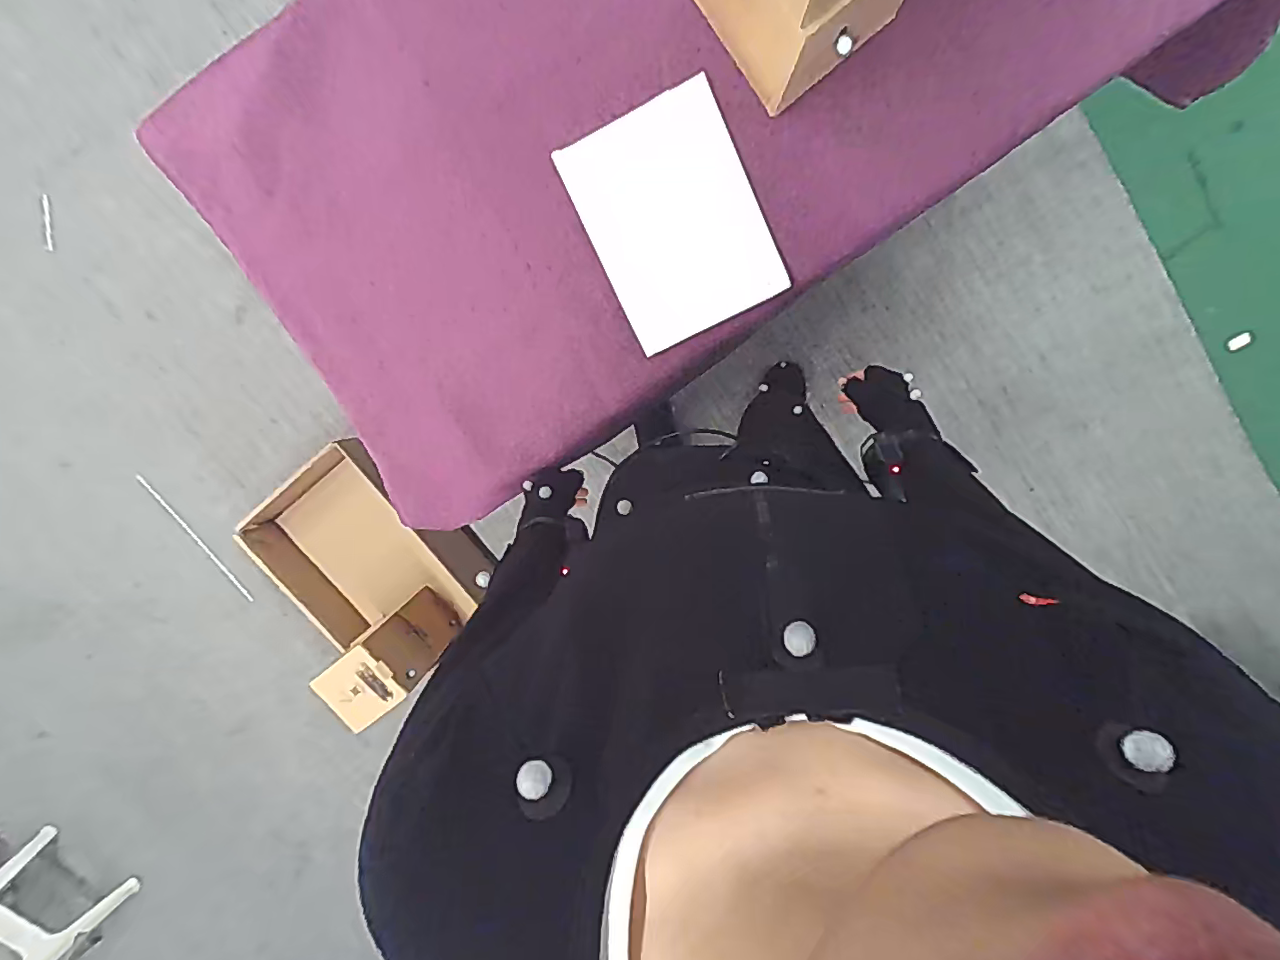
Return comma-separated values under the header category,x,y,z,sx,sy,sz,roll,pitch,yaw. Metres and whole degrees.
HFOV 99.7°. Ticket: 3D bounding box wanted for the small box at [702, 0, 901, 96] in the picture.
category,x,y,z,sx,sy,sz,roll,pitch,yaw
small box,0.165,-0.523,0.528,0.168,0.176,0.179,-36,97,10
